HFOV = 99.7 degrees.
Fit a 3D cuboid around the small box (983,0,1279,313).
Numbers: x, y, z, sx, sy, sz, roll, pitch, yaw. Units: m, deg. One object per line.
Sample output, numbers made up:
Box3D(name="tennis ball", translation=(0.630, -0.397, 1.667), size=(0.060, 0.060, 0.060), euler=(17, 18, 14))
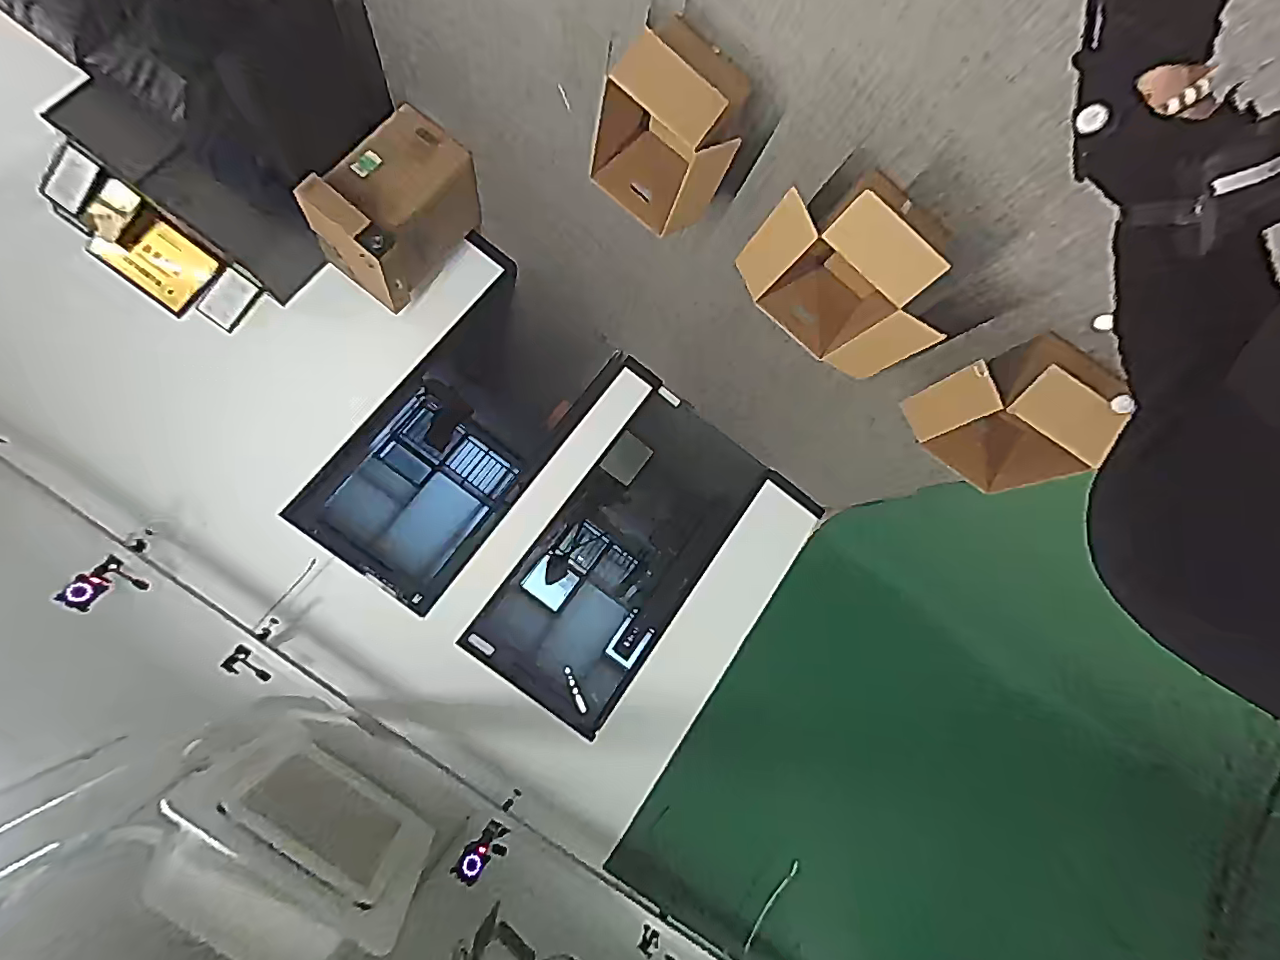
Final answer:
Box3D(name="small box", translation=(0.345, -0.215, 0.340), size=(0.168, 0.179, 0.176), euler=(-2, -175, 5))
